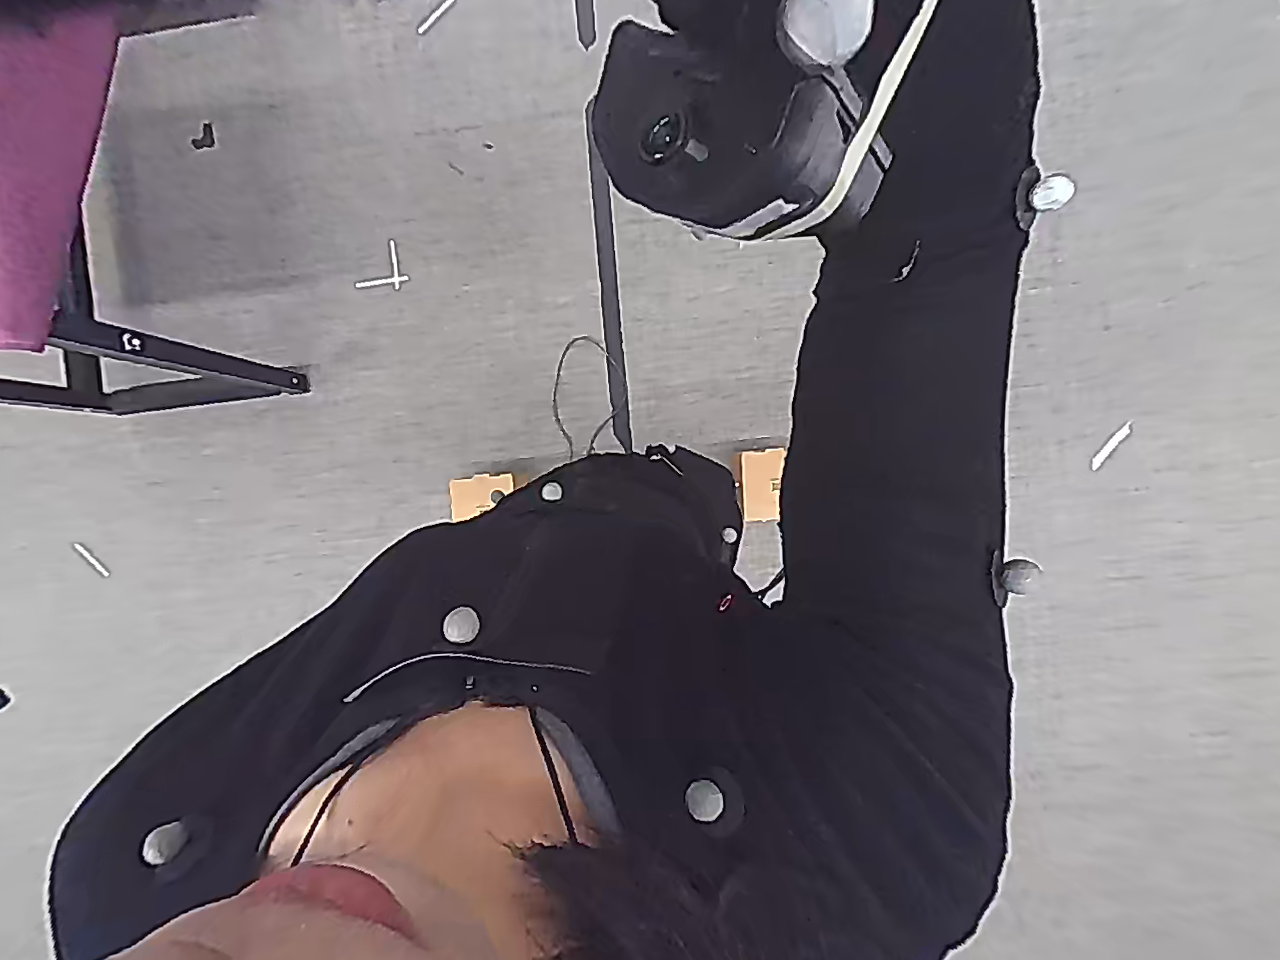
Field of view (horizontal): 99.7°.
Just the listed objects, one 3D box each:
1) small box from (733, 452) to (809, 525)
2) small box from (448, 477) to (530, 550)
[{"bbox_3d":[0.336,0.021,1.410,0.168,0.176,0.179,-3,92,4],"label":"small box"},{"bbox_3d":[-0.395,0.088,1.436,0.168,0.176,0.179,-5,88,2],"label":"small box"}]
